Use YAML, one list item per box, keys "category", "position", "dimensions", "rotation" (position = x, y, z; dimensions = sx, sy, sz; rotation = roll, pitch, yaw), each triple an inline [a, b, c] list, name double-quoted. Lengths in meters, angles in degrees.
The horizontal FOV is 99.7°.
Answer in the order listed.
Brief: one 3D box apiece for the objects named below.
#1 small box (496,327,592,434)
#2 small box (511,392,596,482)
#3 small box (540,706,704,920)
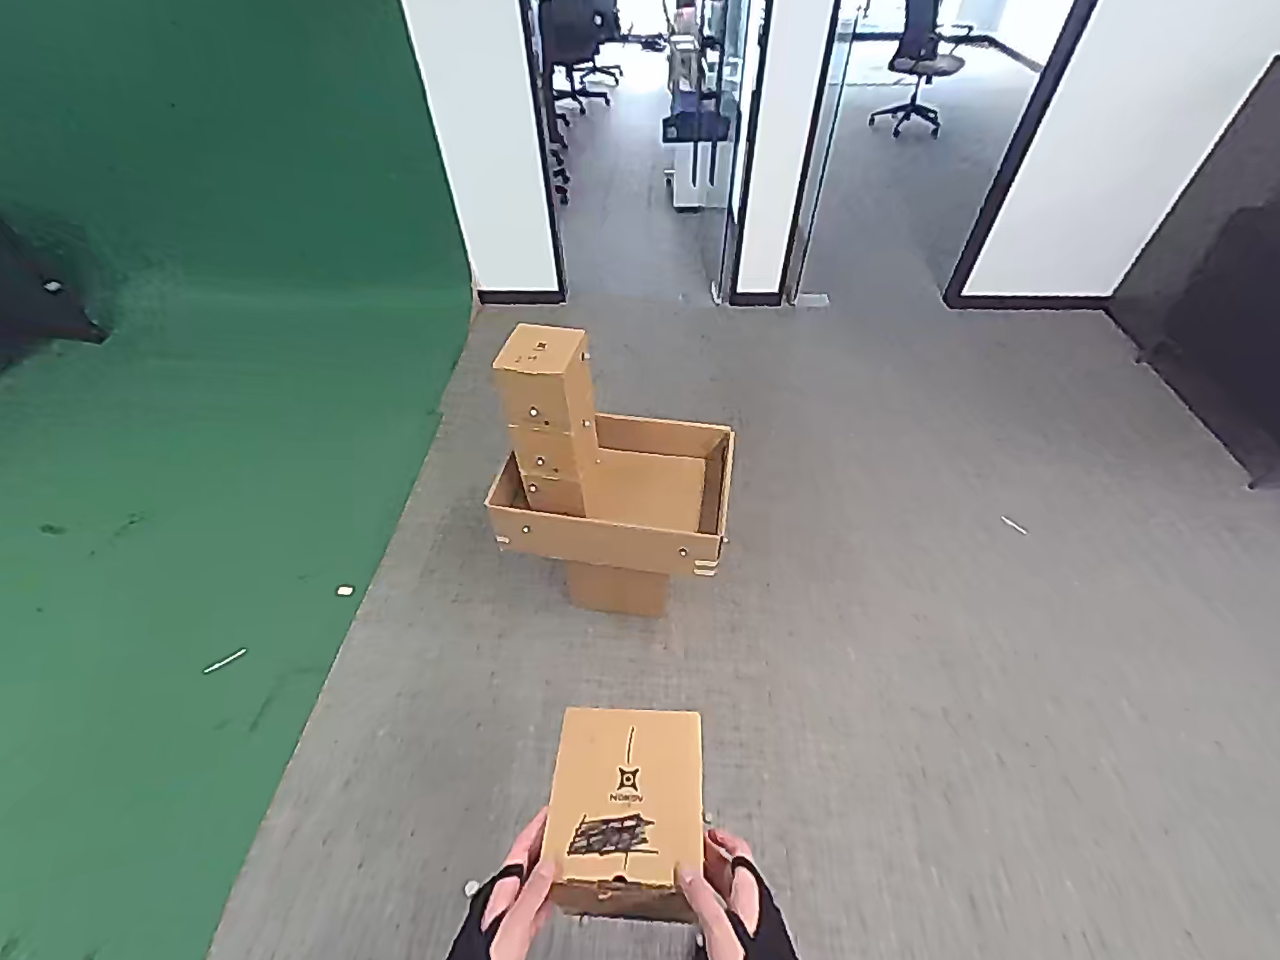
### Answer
- category: "small box"
  position: [-0.216, -0.234, 1.273]
  dimensions: [0.168, 0.176, 0.179]
  rotation: [9, 49, 9]
- category: "small box"
  position: [-0.214, -0.121, 1.394]
  dimensions: [0.168, 0.176, 0.179]
  rotation: [9, 49, 8]
- category: "small box"
  position: [-0.007, 0.393, 0.640]
  dimensions: [0.168, 0.176, 0.179]
  rotation: [0, 41, 5]
